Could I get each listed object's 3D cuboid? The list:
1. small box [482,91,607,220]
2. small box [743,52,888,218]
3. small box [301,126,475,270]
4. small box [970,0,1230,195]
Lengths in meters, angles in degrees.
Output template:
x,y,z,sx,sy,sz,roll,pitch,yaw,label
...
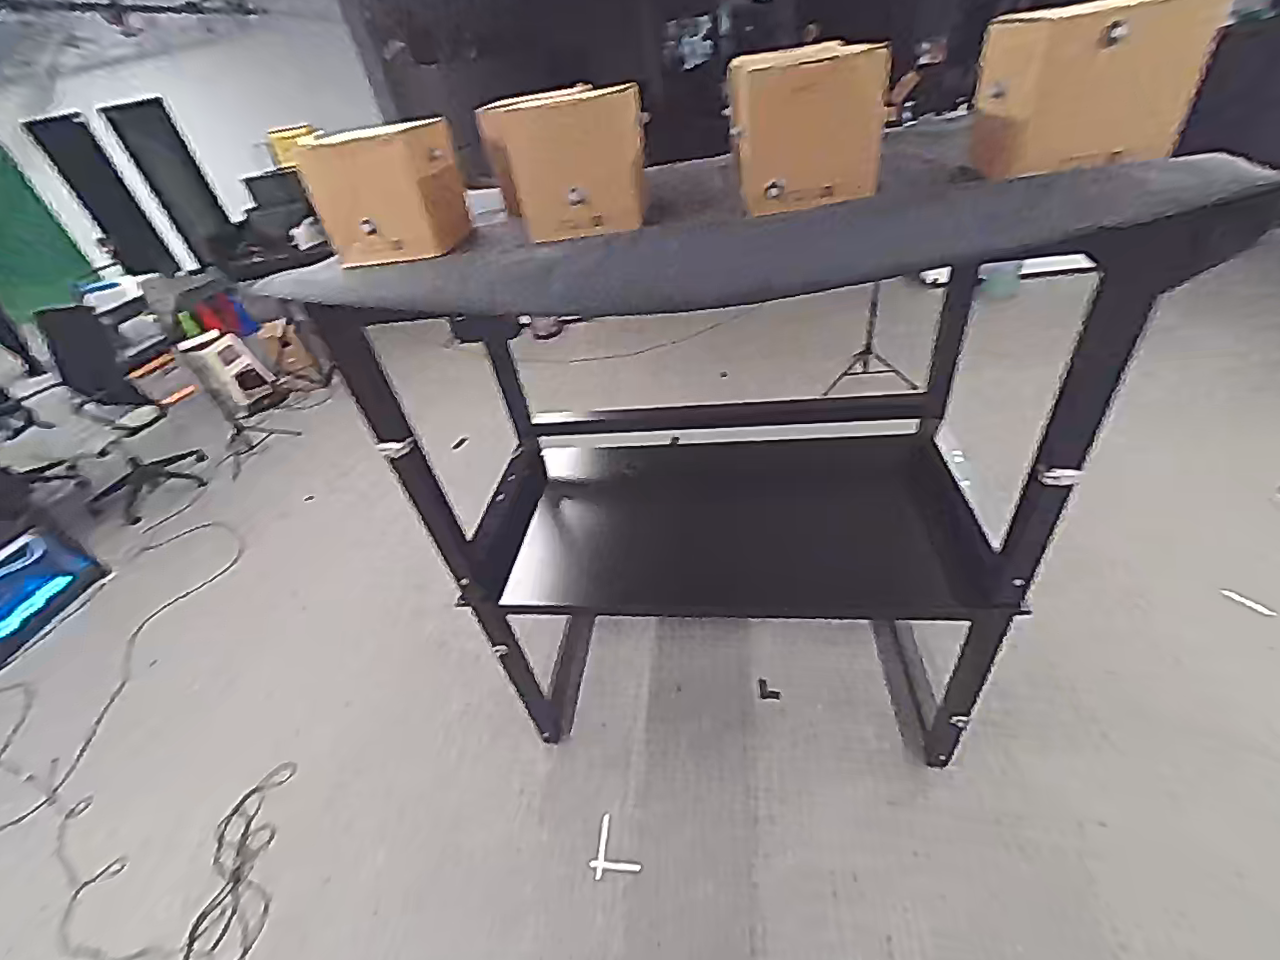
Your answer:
x,y,z,sx,sy,sz,roll,pitch,yaw,label
-0.163,-0.598,0.999,0.179,0.176,0.168,-3,39,8,small box
0.235,-0.479,0.761,0.168,0.176,0.179,-3,38,9,small box
-0.380,-0.446,0.857,0.168,0.176,0.179,-3,38,8,small box
0.543,-0.470,0.677,0.168,0.176,0.179,-3,38,11,small box
